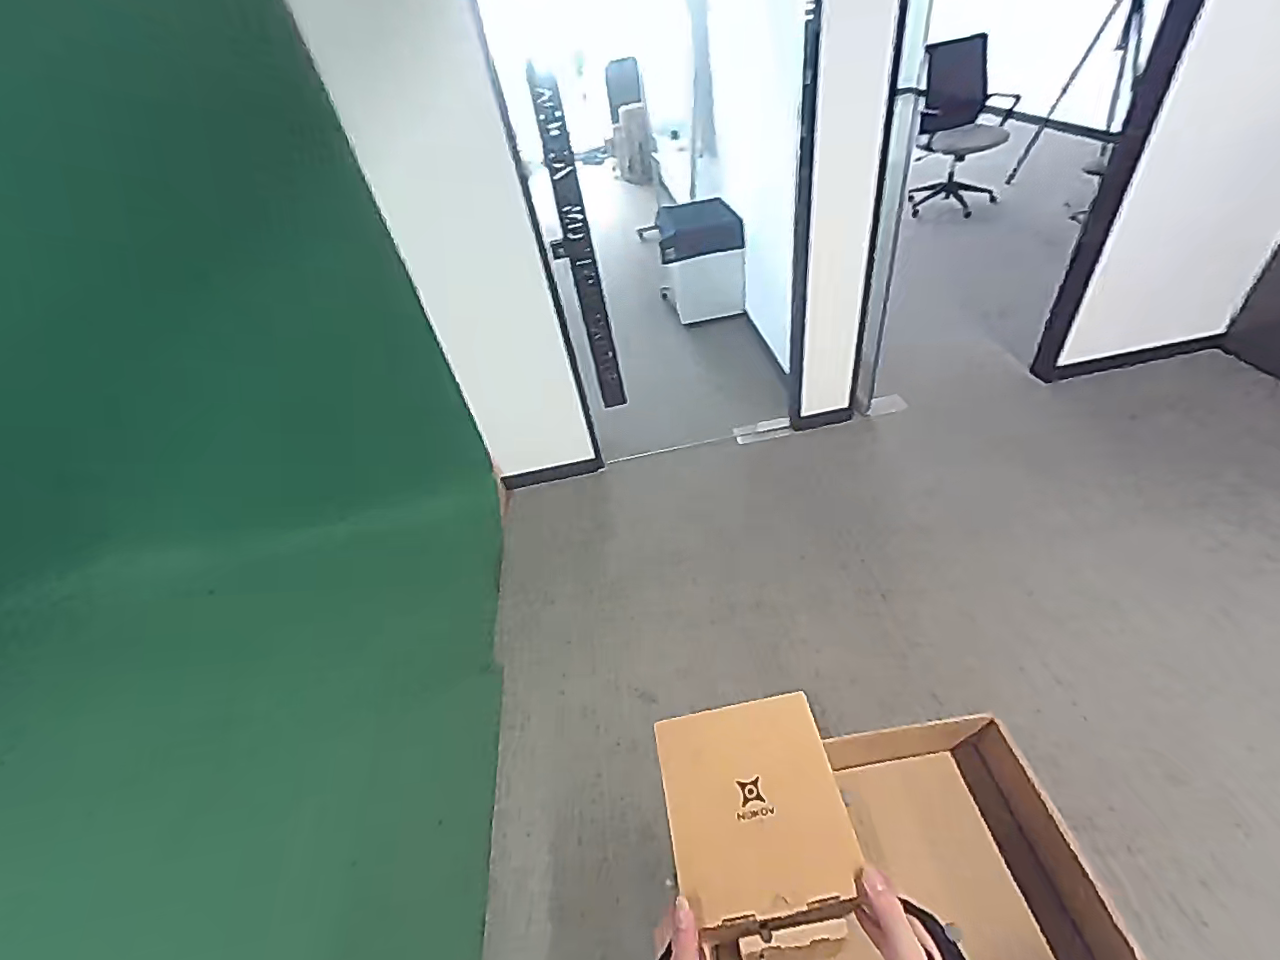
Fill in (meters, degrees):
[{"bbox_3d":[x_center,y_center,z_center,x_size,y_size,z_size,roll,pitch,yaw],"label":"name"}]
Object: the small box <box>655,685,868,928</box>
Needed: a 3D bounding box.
[{"bbox_3d":[0.114,0.347,0.575,0.168,0.176,0.179,-11,48,0],"label":"small box"}]
